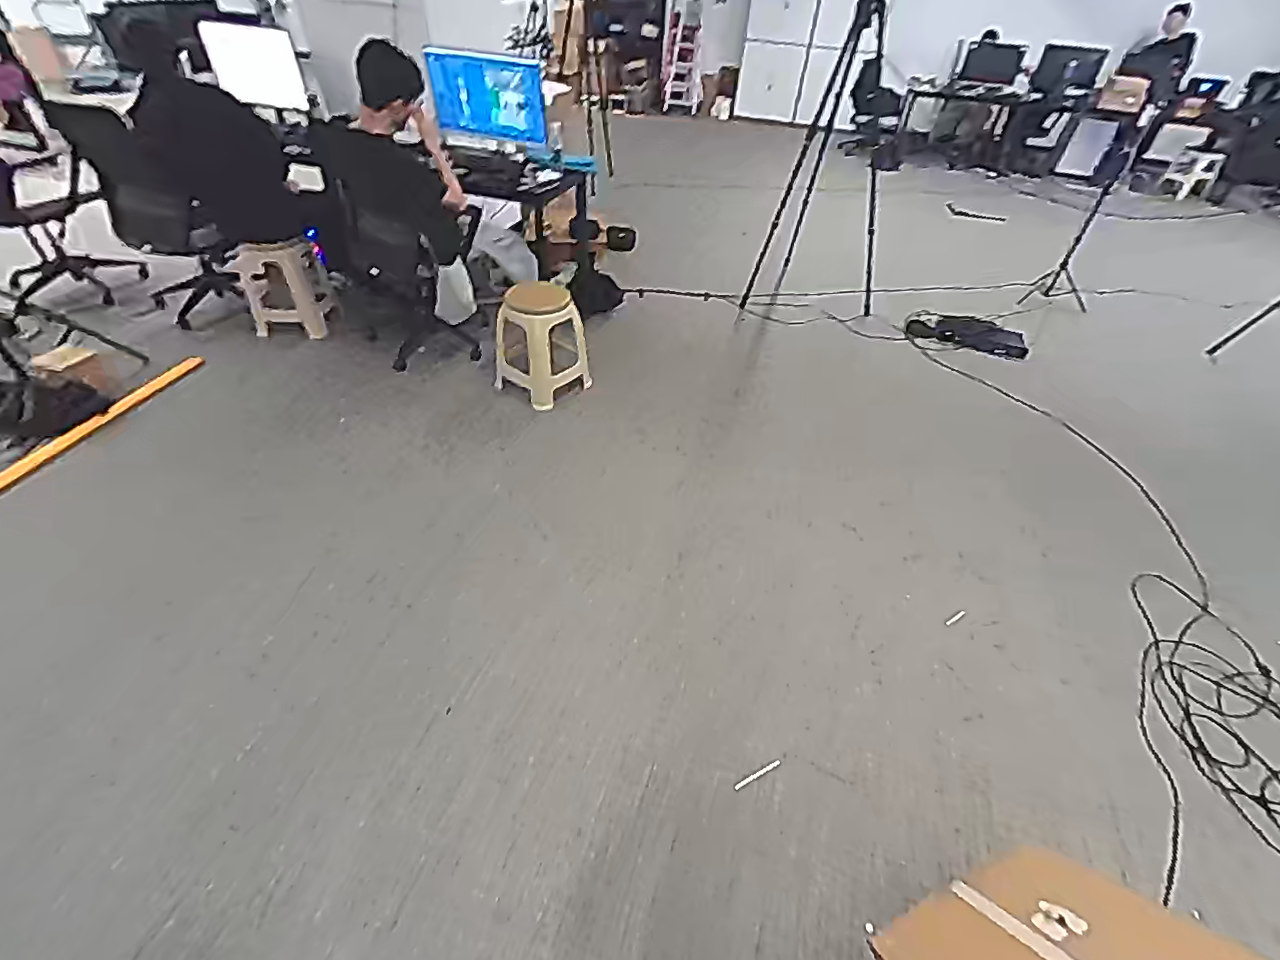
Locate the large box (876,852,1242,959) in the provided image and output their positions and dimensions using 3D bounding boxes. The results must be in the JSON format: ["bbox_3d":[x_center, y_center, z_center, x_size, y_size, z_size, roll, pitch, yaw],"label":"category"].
[{"bbox_3d":[0.564,0.726,0.601,0.320,0.408,0.320,-17,82,-13],"label":"large box"}]
